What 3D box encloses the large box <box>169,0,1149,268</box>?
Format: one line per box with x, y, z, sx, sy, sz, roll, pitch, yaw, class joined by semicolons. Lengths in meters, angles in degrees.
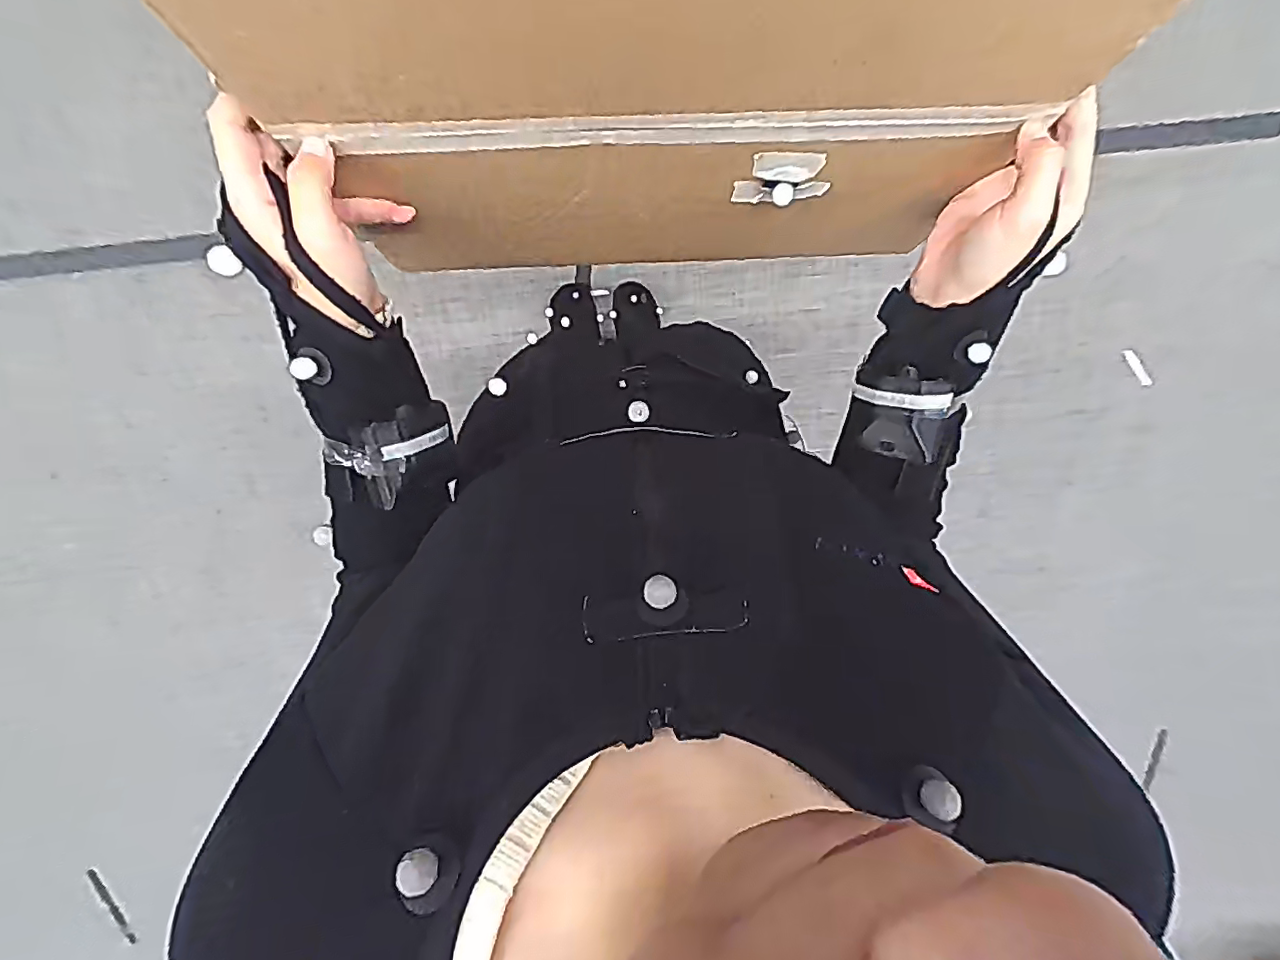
0.004;-0.339;0.289;0.408;0.320;0.320;-4;88;-2;large box
